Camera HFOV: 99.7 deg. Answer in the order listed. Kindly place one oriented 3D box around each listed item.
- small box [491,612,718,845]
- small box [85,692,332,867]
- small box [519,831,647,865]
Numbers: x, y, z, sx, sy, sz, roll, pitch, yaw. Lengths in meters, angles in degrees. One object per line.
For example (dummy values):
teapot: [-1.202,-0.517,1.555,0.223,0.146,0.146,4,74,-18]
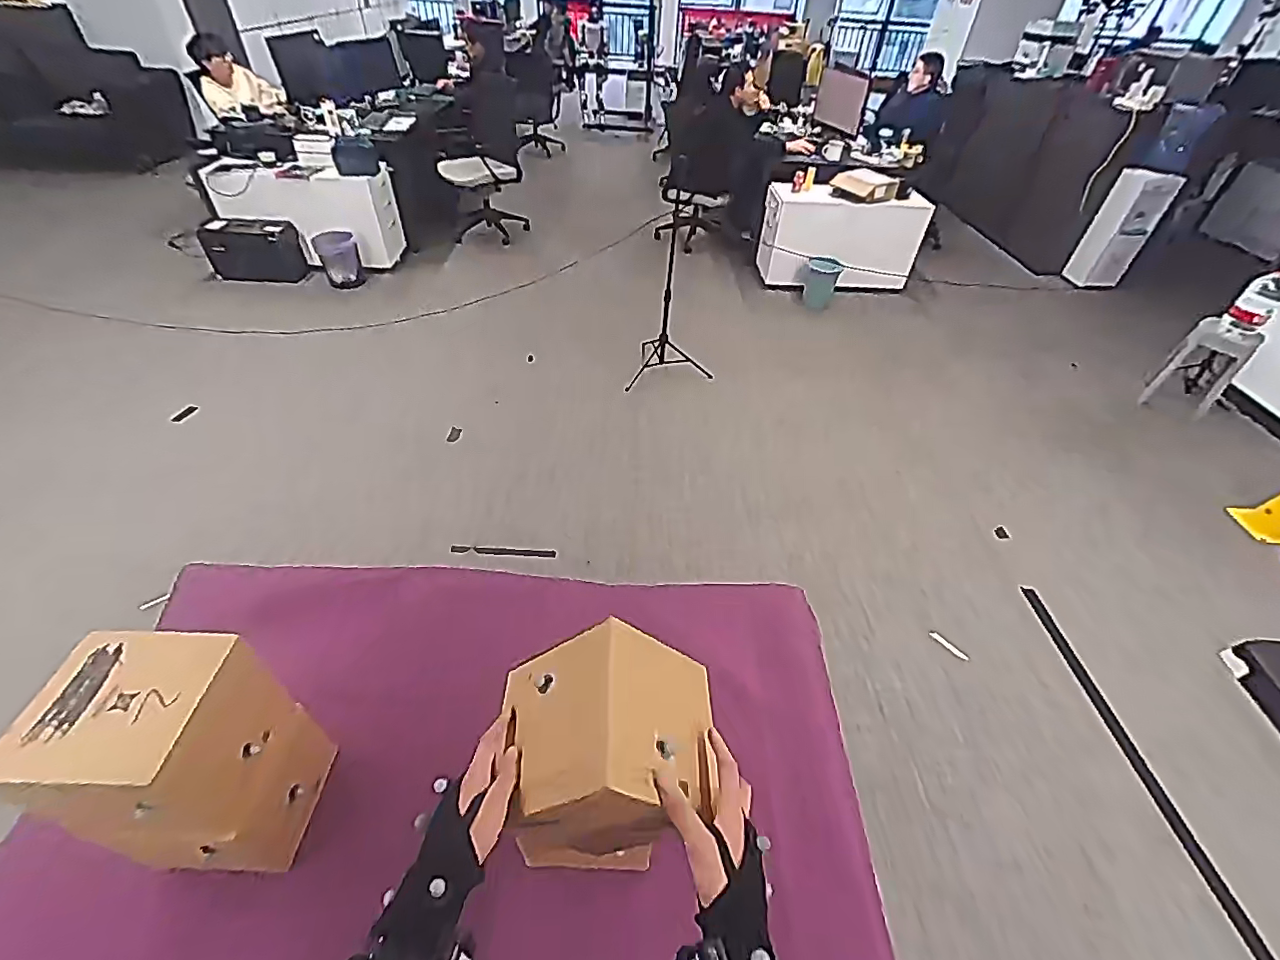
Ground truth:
small box: [-0.037,0.277,0.583,0.168,0.179,0.176,35,35,-30]
small box: [-0.562,0.412,0.742,0.179,0.176,0.168,4,43,-1]
small box: [-0.074,0.427,0.765,0.179,0.176,0.168,3,43,-1]
